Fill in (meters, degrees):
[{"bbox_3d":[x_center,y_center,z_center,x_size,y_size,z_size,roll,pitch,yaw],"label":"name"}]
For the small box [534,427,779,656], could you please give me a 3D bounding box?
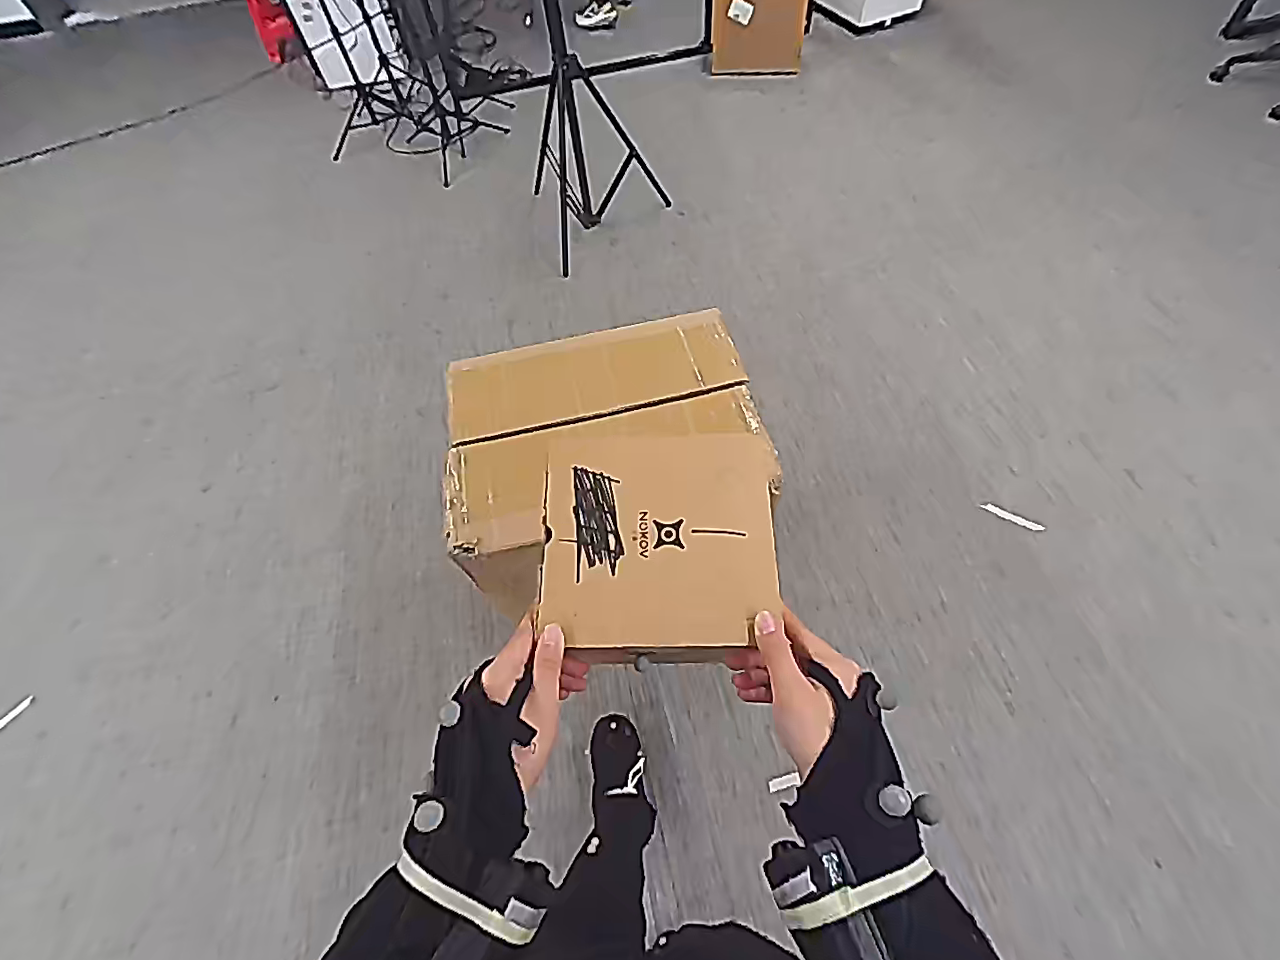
[{"bbox_3d":[0.013,0.065,0.483,0.179,0.176,0.168,-1,67,0],"label":"small box"}]
